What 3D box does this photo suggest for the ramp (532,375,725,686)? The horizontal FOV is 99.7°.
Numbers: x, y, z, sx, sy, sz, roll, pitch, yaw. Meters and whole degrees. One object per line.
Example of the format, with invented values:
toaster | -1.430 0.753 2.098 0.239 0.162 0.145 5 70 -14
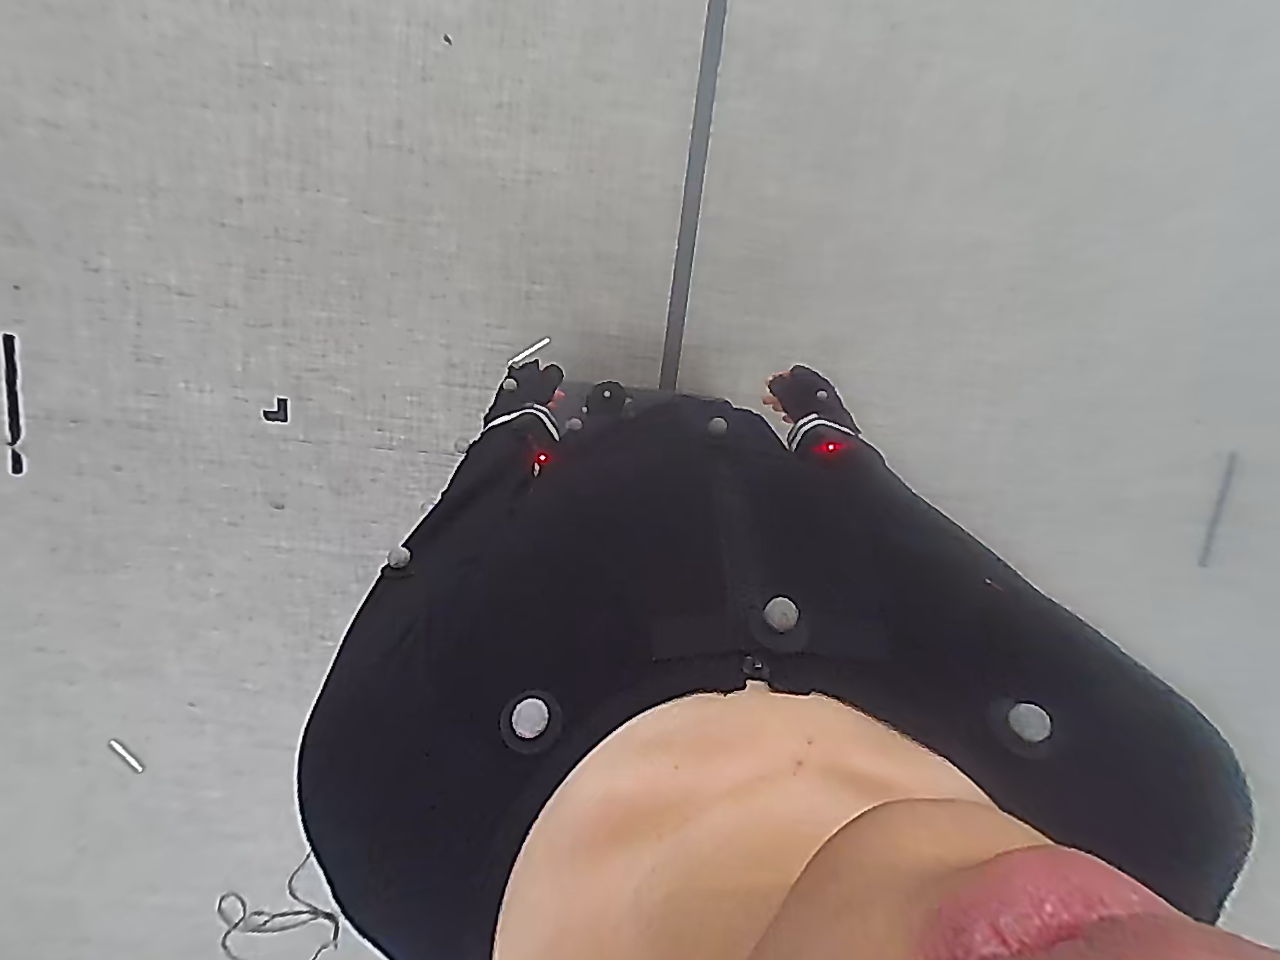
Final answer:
ramp | -0.062 0.205 1.606 0.509 0.206 0.991 3 101 -4
